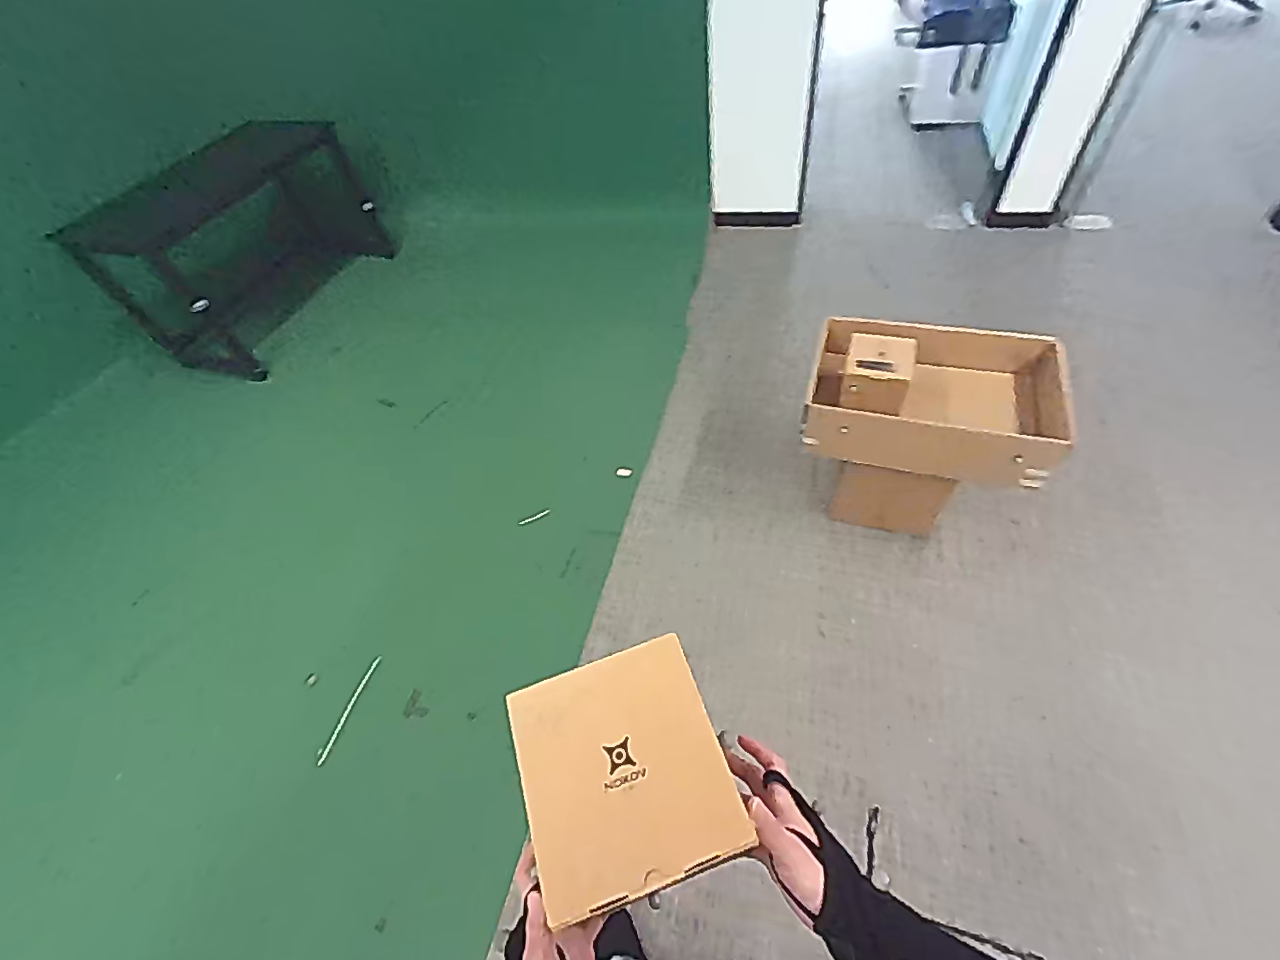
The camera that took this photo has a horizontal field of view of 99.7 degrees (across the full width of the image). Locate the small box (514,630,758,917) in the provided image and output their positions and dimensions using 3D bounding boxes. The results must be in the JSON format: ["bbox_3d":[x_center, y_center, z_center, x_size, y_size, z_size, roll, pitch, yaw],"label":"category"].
[{"bbox_3d":[-0.005,0.274,0.511,0.168,0.176,0.179,-18,55,-6],"label":"small box"}]
